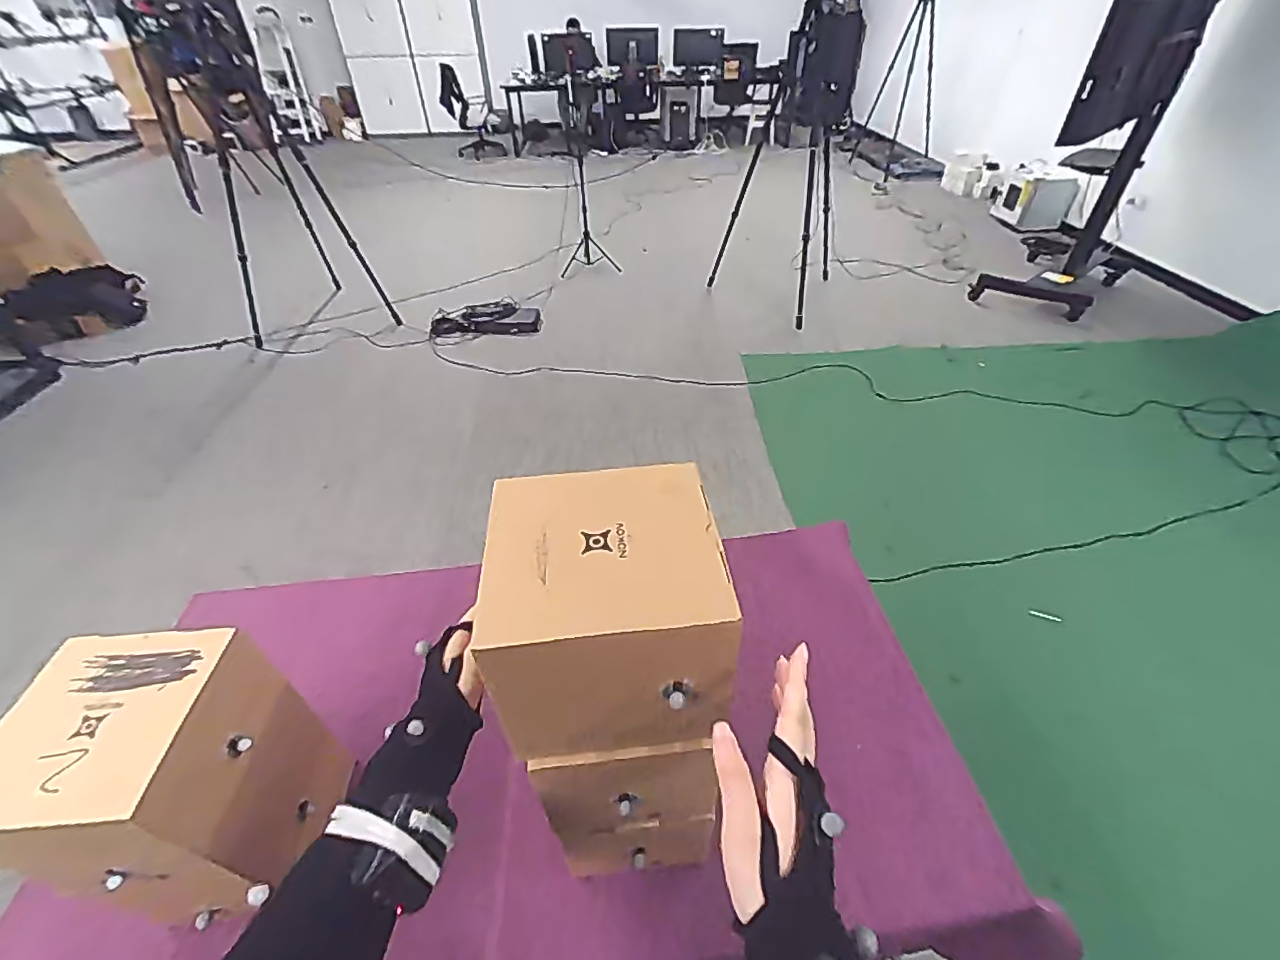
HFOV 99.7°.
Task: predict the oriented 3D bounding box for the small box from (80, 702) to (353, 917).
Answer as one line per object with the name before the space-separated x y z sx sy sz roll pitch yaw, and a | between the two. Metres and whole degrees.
small box | -0.471 0.390 0.644 0.168 0.176 0.179 -3 43 -2

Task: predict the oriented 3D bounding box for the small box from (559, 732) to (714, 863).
small box | -0.006 0.354 0.672 0.168 0.176 0.179 -4 43 -3

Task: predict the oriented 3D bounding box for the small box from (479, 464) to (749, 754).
small box | -0.020 0.107 0.454 0.179 0.176 0.168 -5 41 -3
